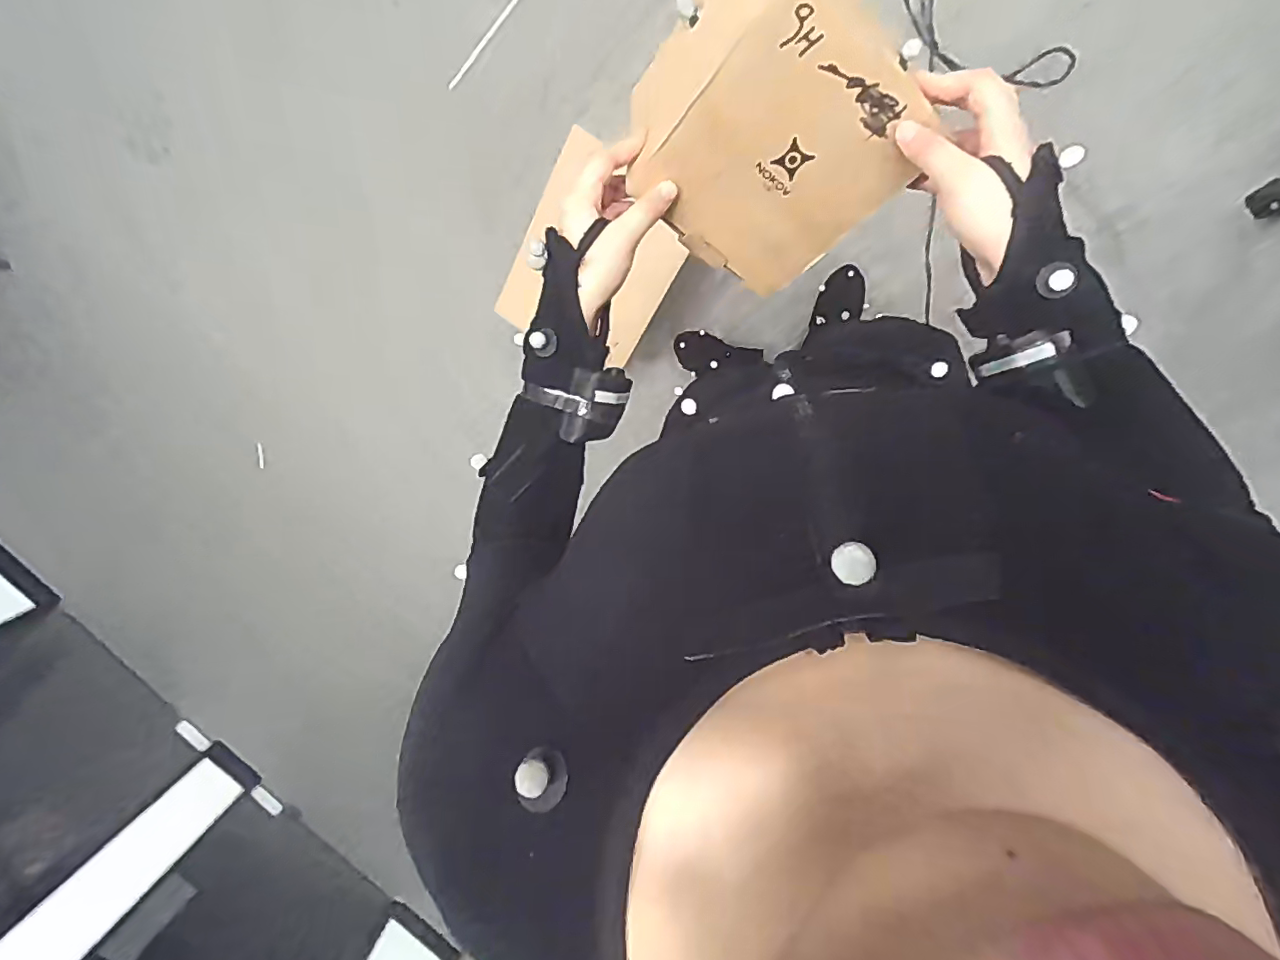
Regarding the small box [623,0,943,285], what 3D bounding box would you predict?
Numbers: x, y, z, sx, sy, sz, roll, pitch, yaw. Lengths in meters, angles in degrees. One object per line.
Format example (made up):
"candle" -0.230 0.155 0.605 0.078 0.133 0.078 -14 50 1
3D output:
"small box" 0.107 -0.309 0.444 0.168 0.176 0.179 24 143 -29
